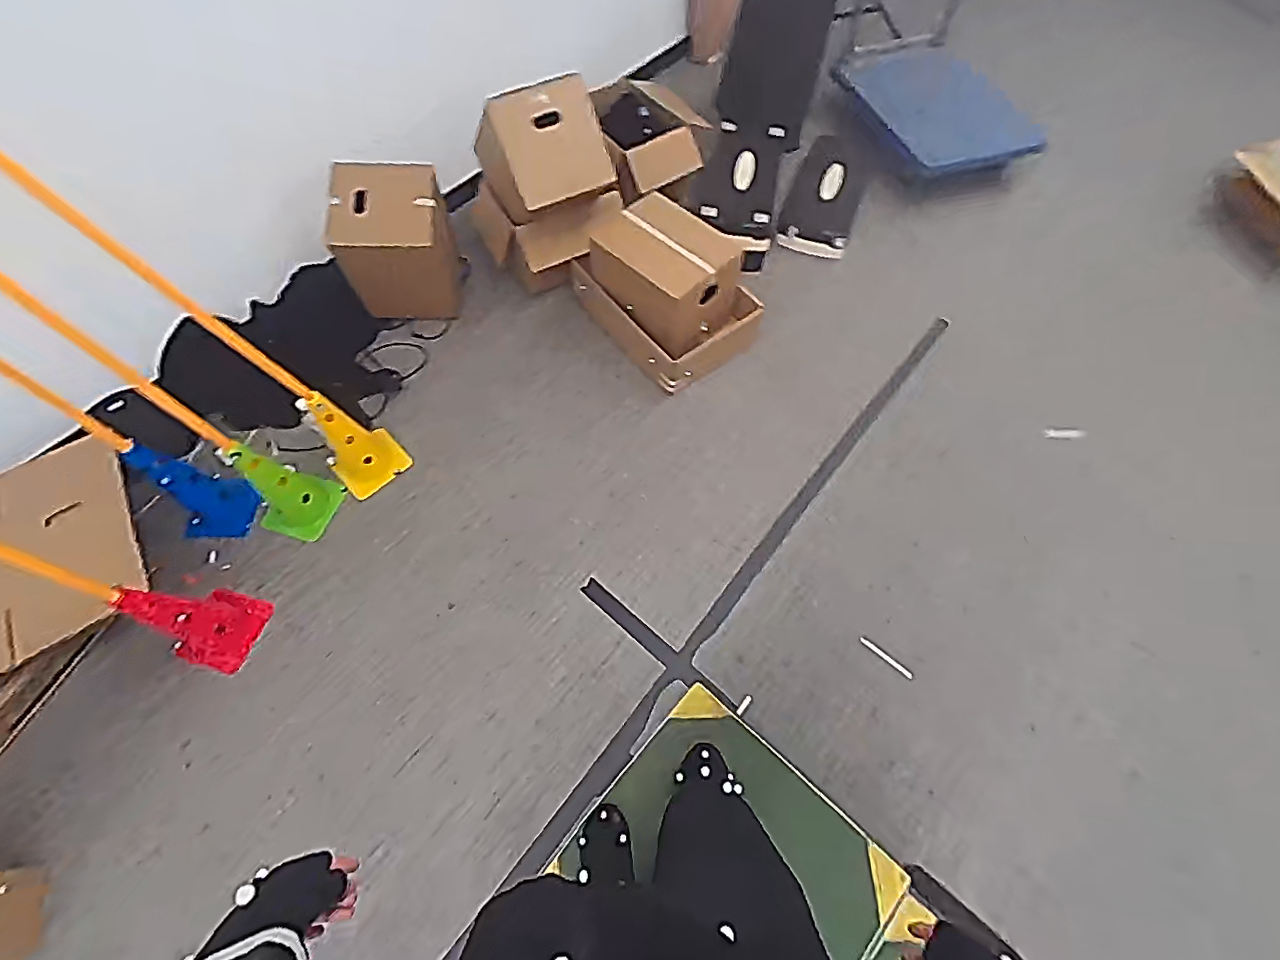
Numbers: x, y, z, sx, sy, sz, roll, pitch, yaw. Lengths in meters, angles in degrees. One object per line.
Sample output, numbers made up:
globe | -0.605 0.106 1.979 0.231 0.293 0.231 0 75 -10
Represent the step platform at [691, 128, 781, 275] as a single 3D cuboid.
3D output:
step platform | 0.400 -1.153 2.207 0.286 0.204 0.684 10 64 6
